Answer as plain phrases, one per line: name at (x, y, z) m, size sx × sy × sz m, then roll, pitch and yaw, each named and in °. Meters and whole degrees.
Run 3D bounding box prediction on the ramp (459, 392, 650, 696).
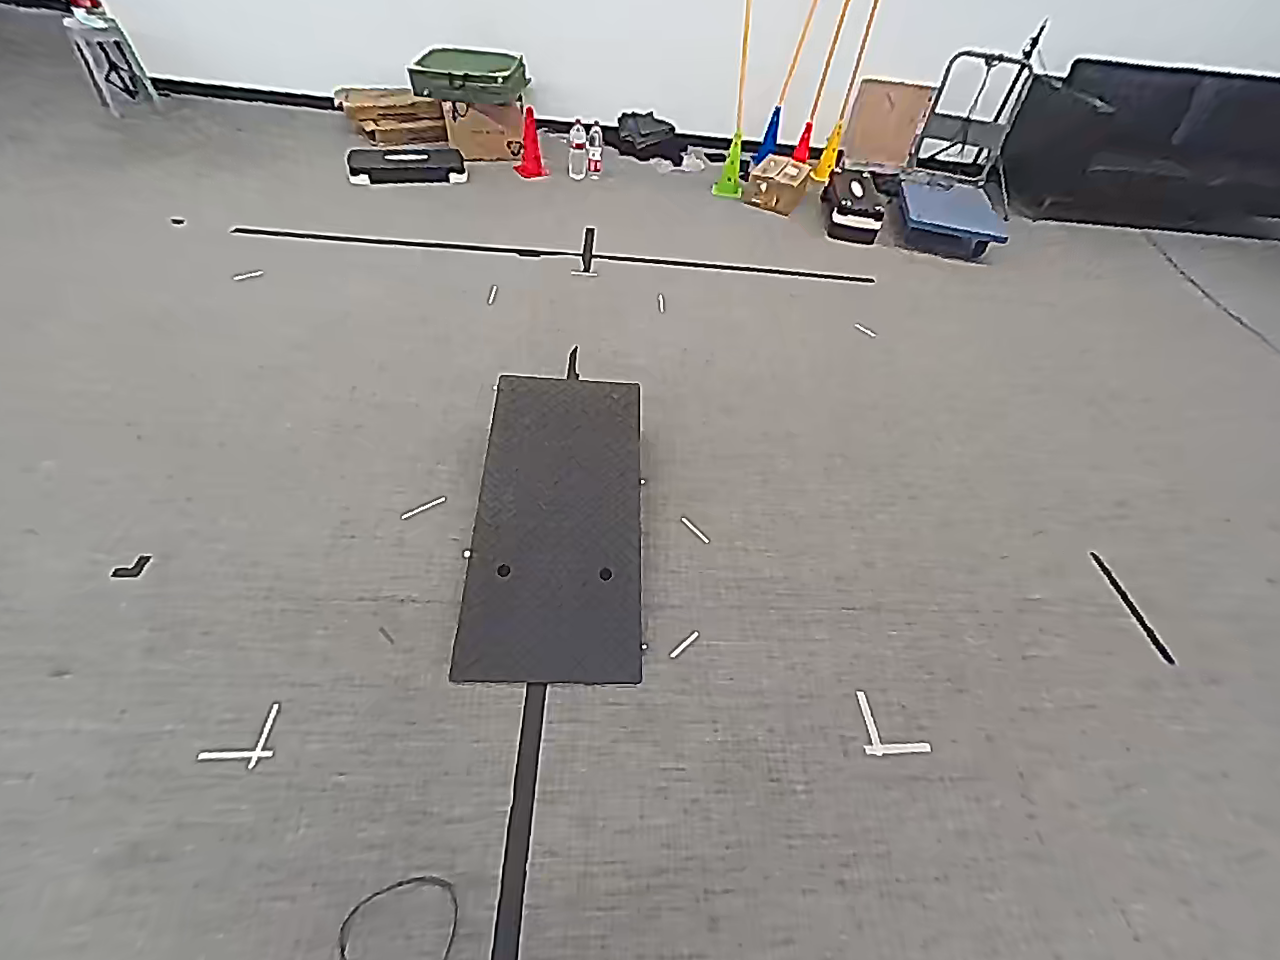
ramp at (-0.221, 0.127, 1.638) m, size 0.509 × 0.206 × 0.991 m, roll 2°, pitch 48°, yaw -7°
